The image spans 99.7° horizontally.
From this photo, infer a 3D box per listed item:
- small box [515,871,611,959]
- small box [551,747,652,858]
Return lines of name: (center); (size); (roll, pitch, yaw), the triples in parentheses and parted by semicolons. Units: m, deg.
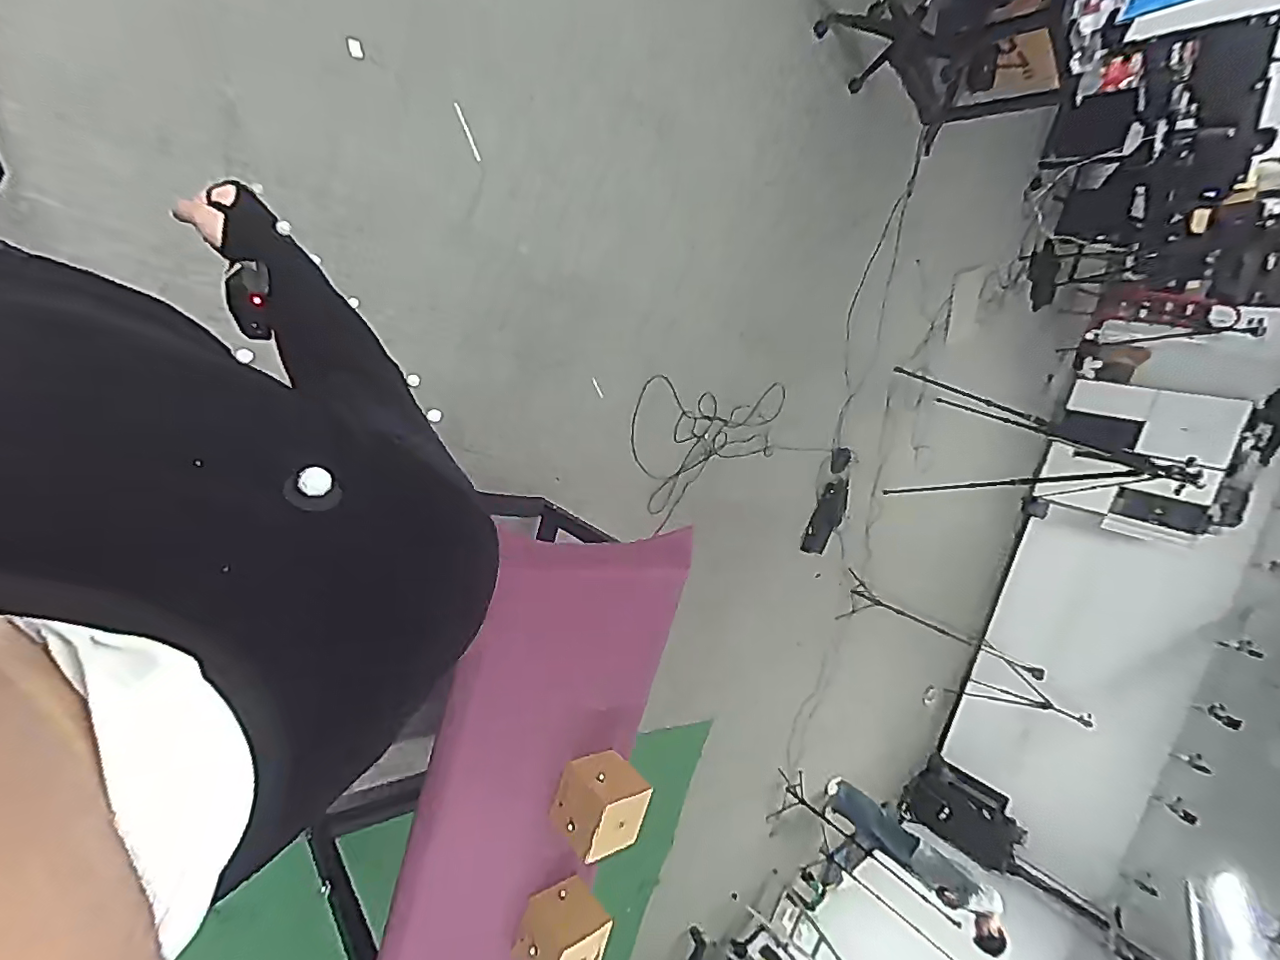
small box: (-0.214, 1.226, 1.475); (0.179, 0.176, 0.168); (10, 99, -45)
small box: (-0.105, 0.836, 1.422); (0.179, 0.176, 0.168); (14, 98, -46)
